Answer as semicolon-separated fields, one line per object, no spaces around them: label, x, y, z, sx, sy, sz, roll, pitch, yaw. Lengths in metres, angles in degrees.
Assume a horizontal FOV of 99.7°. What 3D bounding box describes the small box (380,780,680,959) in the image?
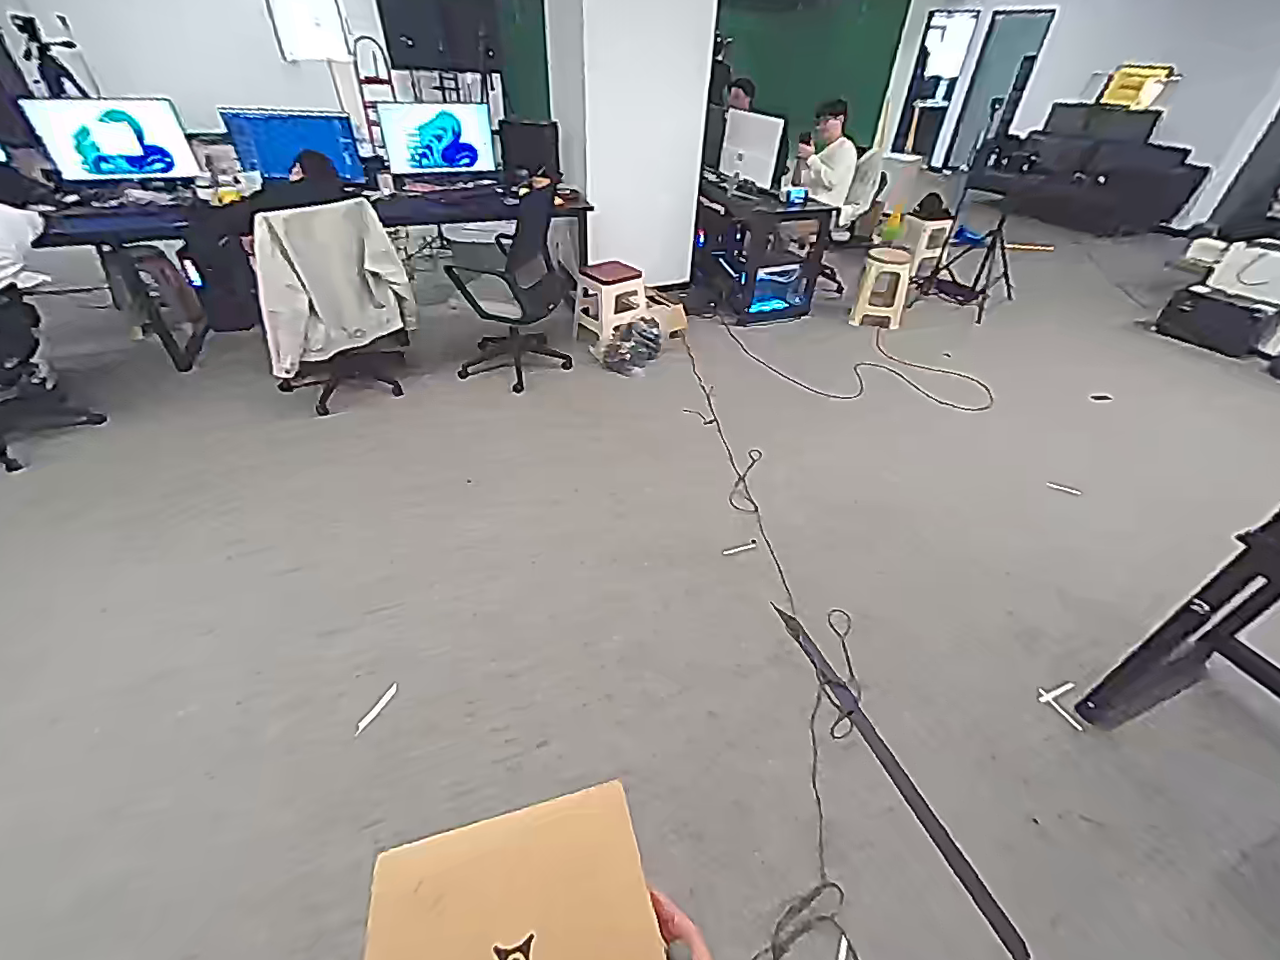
small box;-0.059;0.338;0.344;0.168;0.176;0.179;-11;36;-12
